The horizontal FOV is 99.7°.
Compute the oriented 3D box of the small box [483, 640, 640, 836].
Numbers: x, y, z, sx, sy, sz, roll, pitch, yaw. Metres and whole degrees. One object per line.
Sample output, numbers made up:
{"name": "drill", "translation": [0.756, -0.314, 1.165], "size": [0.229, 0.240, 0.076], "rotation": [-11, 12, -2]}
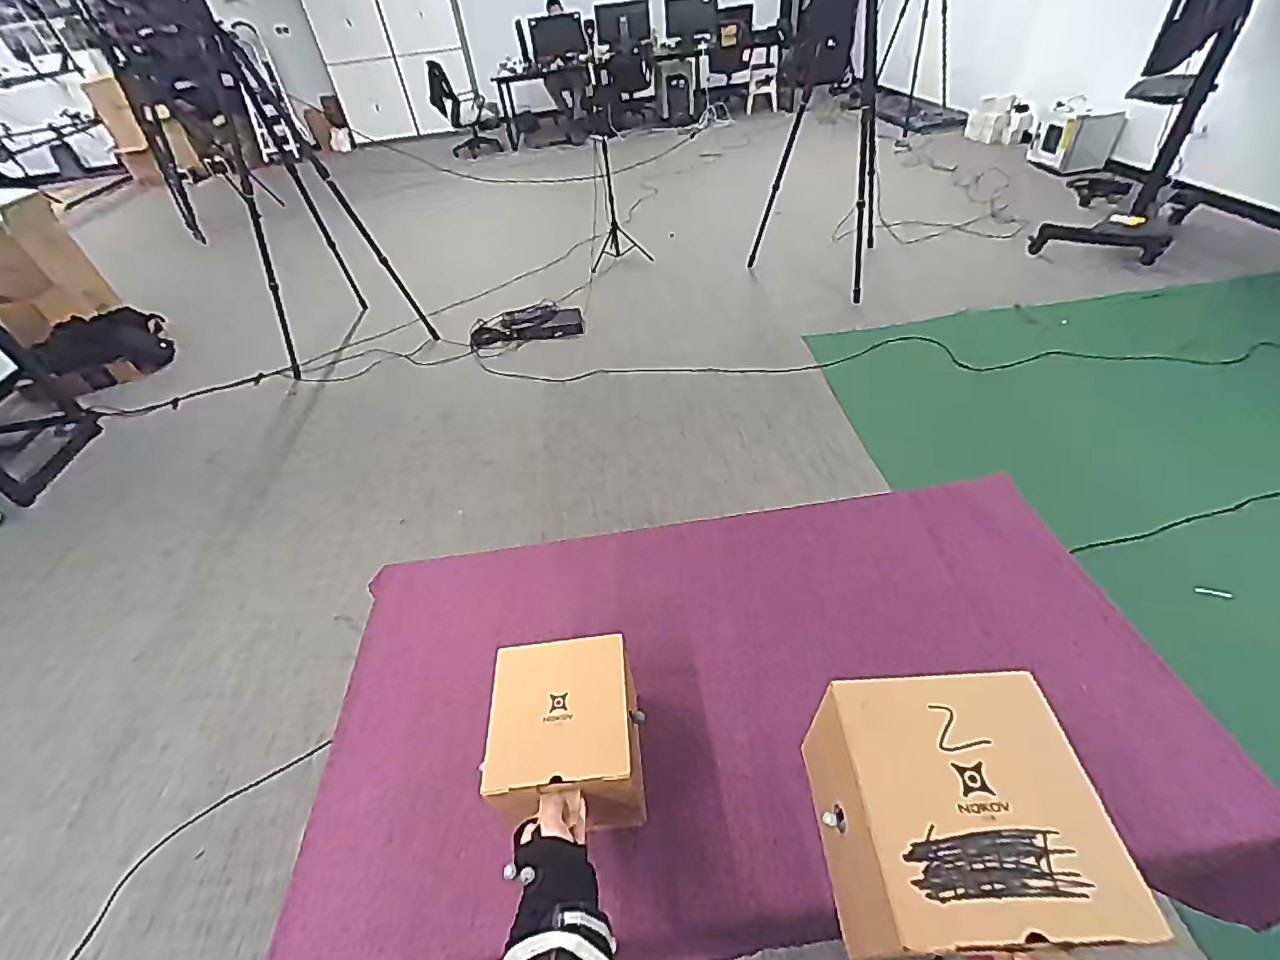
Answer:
{"name": "small box", "translation": [-0.092, 0.338, 0.710], "size": [0.168, 0.176, 0.179], "rotation": [-7, 44, 0]}
